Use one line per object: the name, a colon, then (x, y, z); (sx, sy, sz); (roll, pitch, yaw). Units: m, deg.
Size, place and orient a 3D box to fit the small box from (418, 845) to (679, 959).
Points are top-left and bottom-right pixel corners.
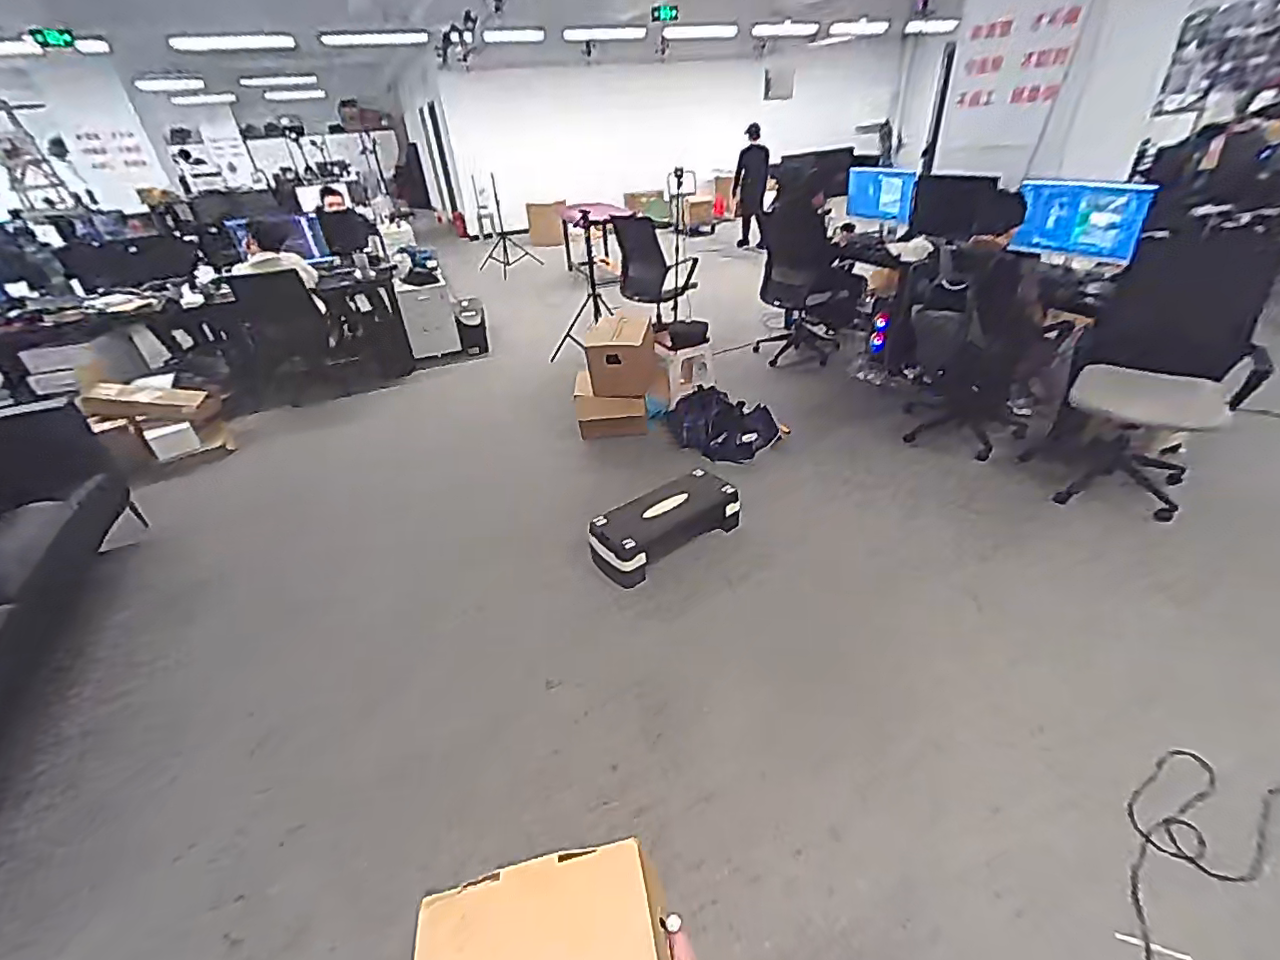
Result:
small box: (-0.050, 0.400, 0.383); (0.168, 0.176, 0.179); (-14, 42, -3)
